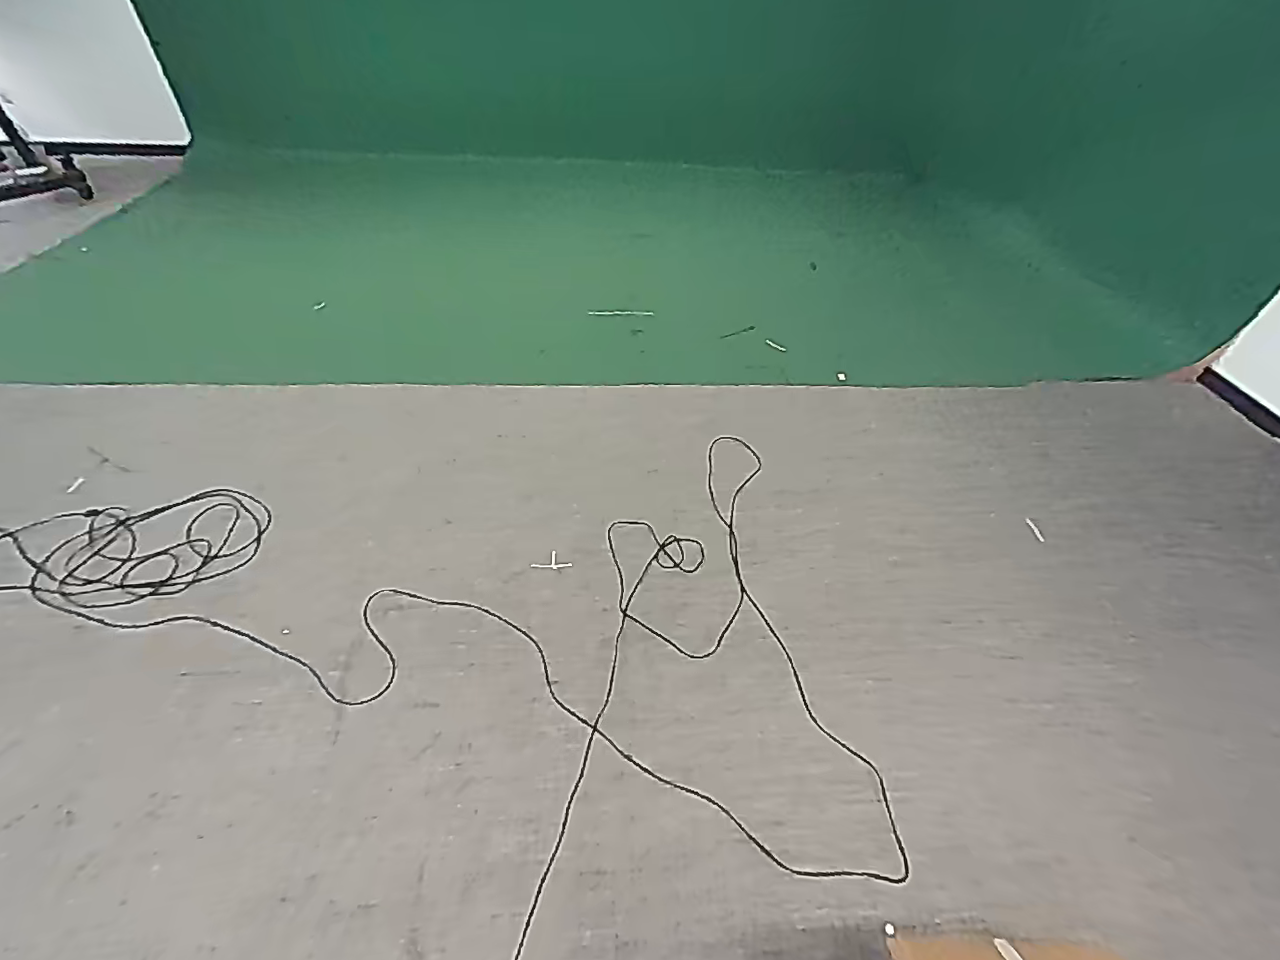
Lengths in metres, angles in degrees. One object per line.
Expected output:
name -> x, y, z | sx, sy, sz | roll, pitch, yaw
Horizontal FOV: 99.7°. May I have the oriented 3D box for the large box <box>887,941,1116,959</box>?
large box -> 0.502, 0.801, 0.564 | 0.320, 0.408, 0.320 | -1, 85, 4
